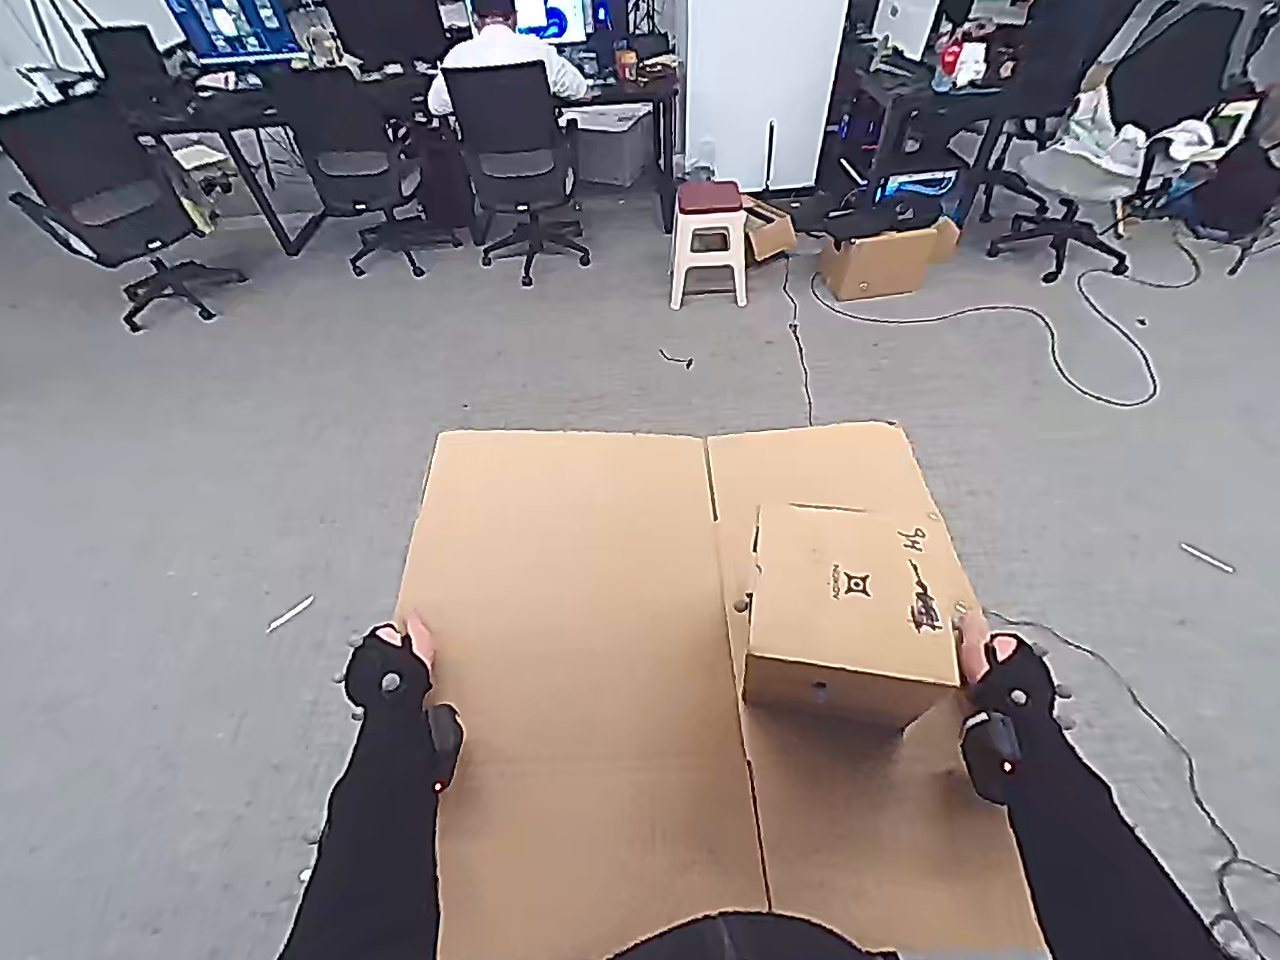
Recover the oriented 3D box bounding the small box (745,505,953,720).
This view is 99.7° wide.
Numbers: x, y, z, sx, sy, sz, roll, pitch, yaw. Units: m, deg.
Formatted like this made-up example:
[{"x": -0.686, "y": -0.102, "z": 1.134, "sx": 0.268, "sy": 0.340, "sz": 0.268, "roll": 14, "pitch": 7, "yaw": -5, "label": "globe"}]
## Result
[{"x": 0.208, "y": 0.145, "z": 0.582, "sx": 0.179, "sy": 0.176, "sz": 0.168, "roll": 4, "pitch": 56, "yaw": 13, "label": "small box"}]
